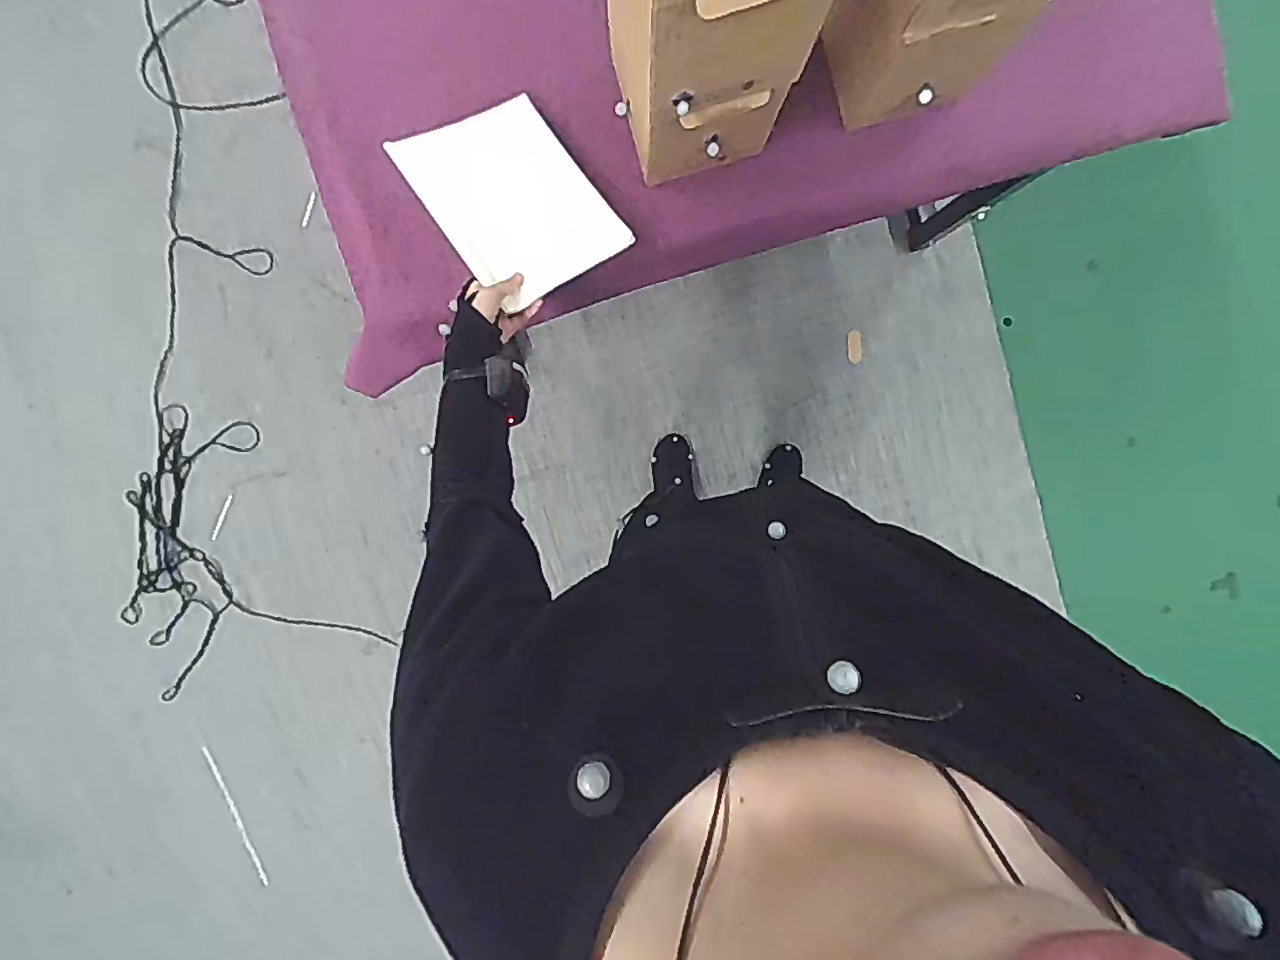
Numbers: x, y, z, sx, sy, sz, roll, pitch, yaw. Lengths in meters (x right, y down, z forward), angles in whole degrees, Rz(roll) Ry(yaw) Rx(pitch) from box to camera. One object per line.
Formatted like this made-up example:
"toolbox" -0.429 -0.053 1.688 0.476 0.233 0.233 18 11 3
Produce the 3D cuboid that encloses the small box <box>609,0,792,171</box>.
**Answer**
"small box" 0.065 -0.504 0.652 0.168 0.176 0.179 -16 96 1

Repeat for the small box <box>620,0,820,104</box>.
"small box" 0.065 -0.482 0.488 0.168 0.176 0.179 -16 94 2

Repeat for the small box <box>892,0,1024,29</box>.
"small box" 0.325 -0.565 0.479 0.168 0.176 0.179 -16 95 2
